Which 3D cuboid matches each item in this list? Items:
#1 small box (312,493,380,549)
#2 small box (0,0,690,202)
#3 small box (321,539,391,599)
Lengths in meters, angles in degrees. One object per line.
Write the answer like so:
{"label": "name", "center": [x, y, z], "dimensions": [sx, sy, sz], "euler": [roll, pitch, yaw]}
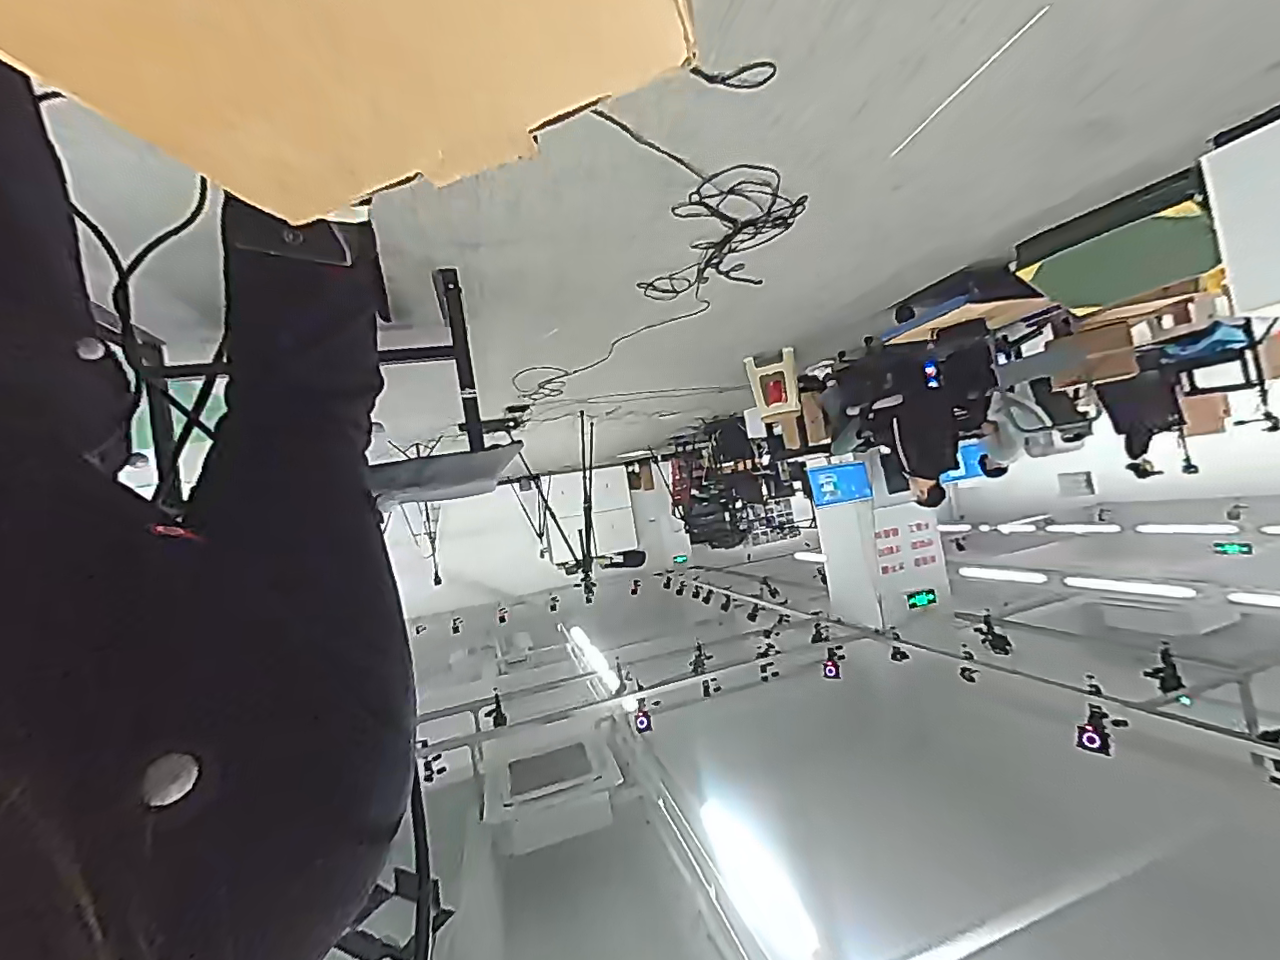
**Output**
{"label": "small box", "center": [-1.014, 0.140, 1.871], "dimensions": [0.168, 0.176, 0.179], "euler": [-9, 178, -16]}
{"label": "small box", "center": [-0.097, -0.209, 0.119], "dimensions": [0.168, 0.176, 0.179], "euler": [-9, 172, 18]}
{"label": "small box", "center": [-0.981, 0.299, 1.867], "dimensions": [0.179, 0.176, 0.168], "euler": [-10, 180, -14]}
